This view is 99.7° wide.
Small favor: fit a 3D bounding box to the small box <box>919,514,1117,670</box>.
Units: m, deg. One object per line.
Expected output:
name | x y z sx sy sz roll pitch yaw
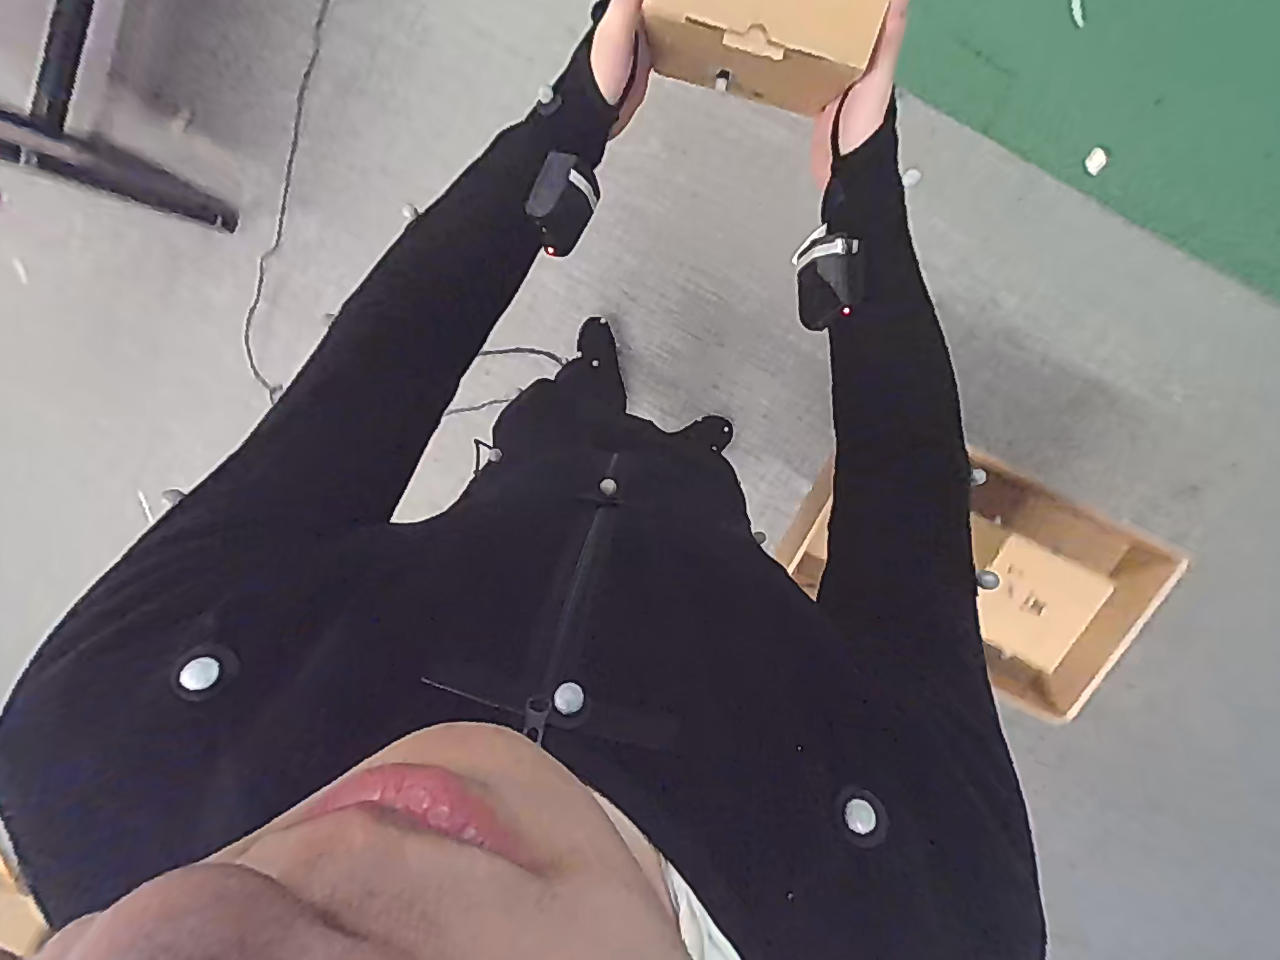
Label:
small box | 0.615 0.175 0.906 0.179 0.176 0.168 27 101 1
